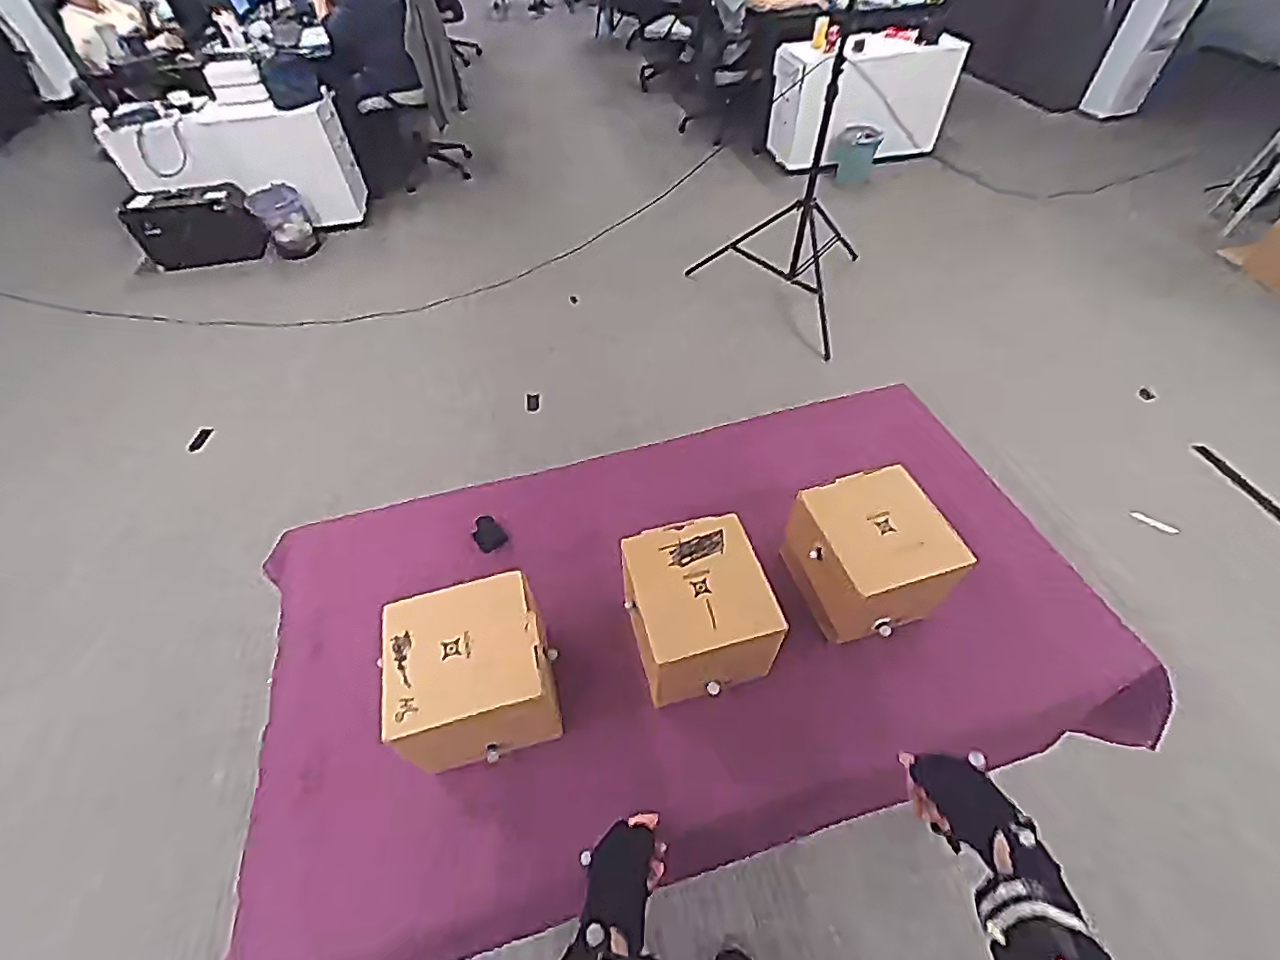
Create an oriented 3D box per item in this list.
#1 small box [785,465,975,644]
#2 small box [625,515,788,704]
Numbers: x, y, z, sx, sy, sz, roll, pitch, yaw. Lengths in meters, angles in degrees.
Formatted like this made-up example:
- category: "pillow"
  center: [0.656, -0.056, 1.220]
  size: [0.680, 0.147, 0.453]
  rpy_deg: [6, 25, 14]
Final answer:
- category: "small box"
  center: [0.331, 0.110, 0.792]
  size: [0.168, 0.176, 0.179]
  rpy_deg: [-15, 52, -9]
- category: "small box"
  center: [0.079, 0.178, 0.742]
  size: [0.168, 0.176, 0.179]
  rpy_deg: [-13, 52, -8]
